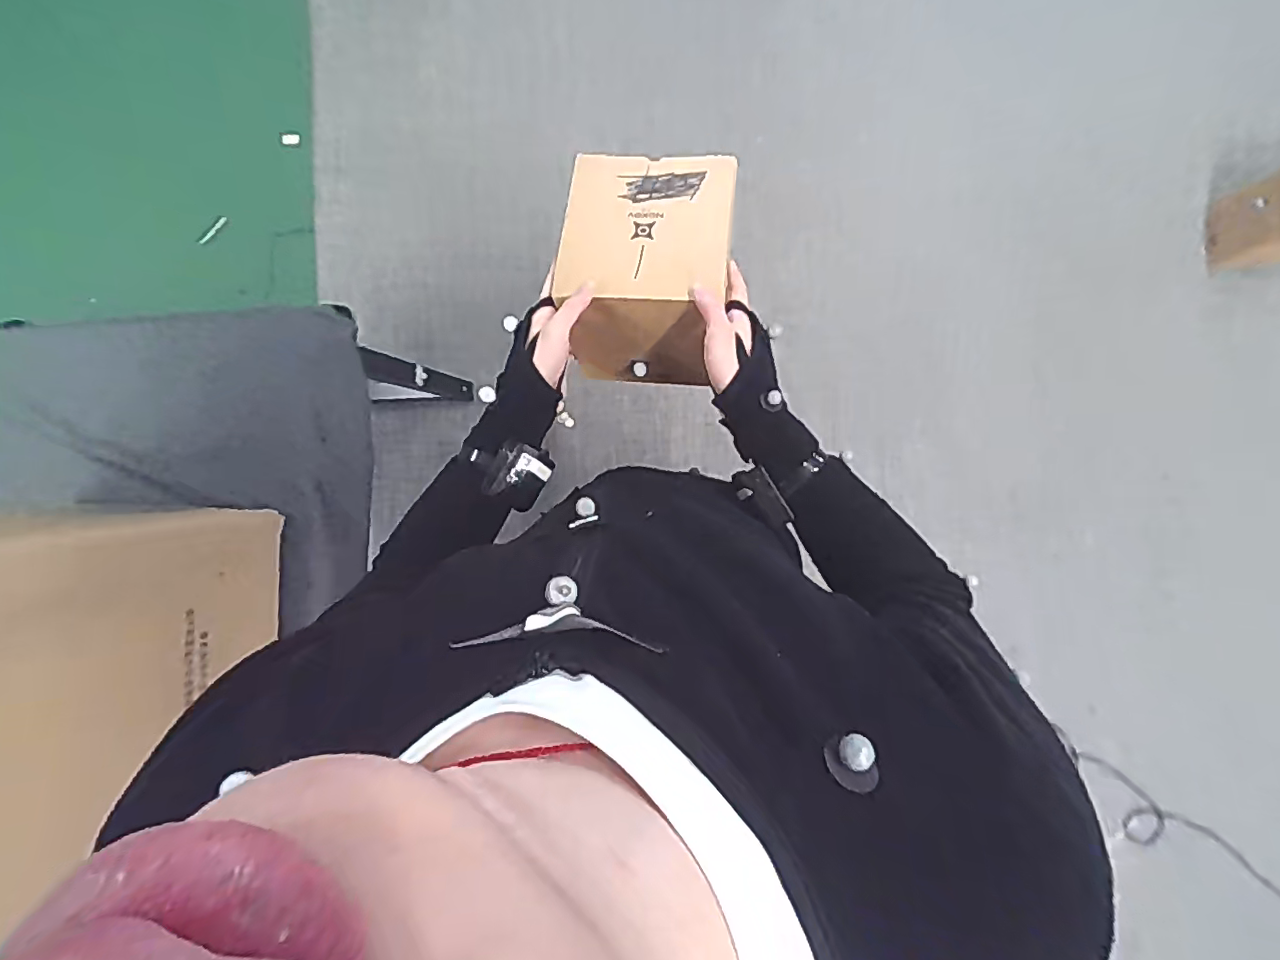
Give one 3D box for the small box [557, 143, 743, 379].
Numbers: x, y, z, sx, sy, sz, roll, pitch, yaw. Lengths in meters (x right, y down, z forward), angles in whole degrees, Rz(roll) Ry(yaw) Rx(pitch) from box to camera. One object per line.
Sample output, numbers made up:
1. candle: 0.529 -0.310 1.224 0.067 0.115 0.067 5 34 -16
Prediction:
1. small box: 0.017 -0.235 0.604 0.168 0.176 0.179 6 75 7
